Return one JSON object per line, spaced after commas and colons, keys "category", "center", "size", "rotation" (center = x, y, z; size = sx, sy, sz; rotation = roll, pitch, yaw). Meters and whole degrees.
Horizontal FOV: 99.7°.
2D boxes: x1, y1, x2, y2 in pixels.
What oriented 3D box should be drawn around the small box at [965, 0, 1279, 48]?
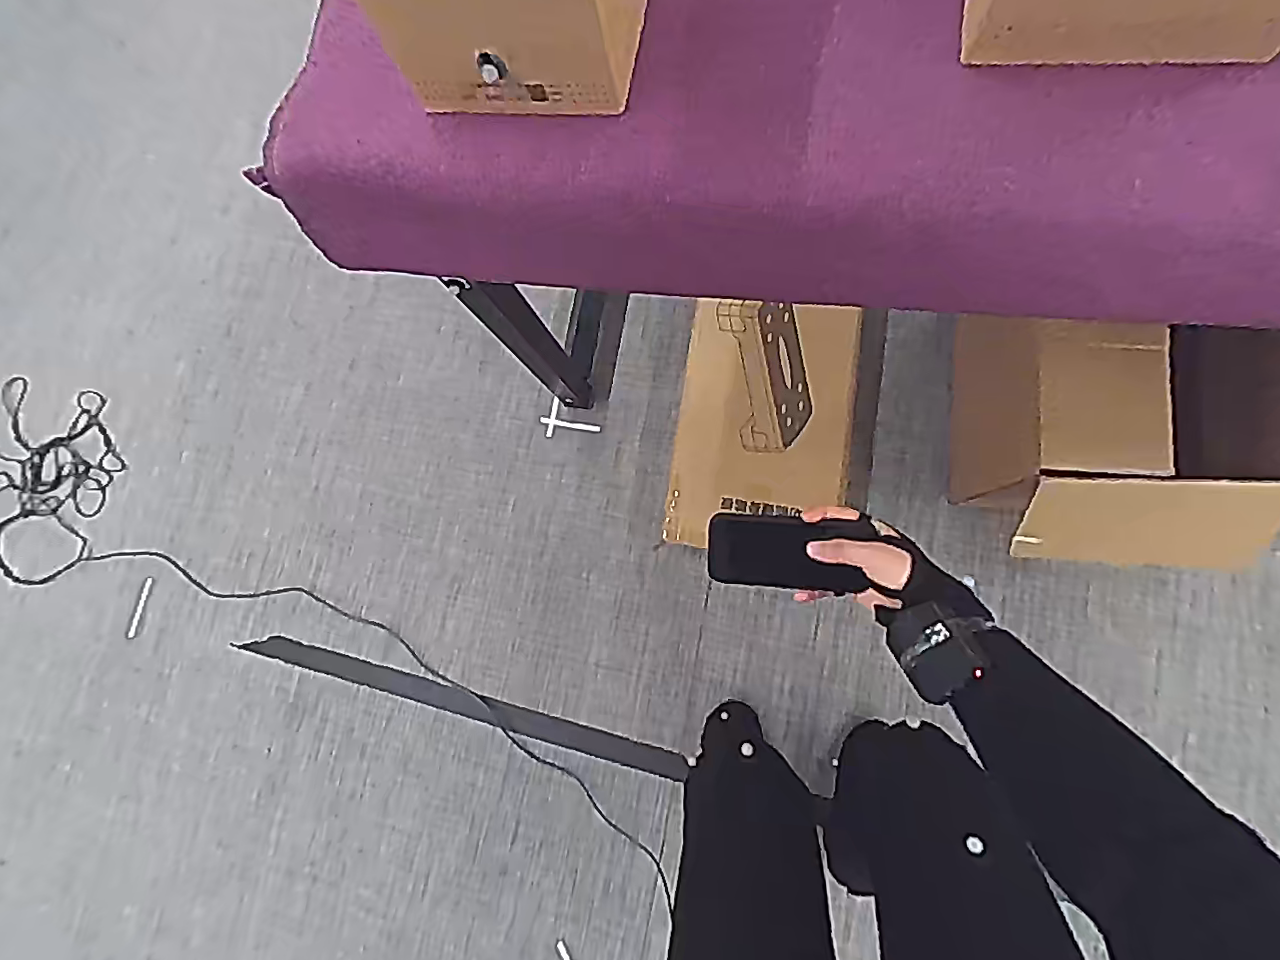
{"category": "small box", "center": [0.300, -0.364, 0.275], "size": [0.179, 0.176, 0.168], "rotation": [8, 79, 11]}
